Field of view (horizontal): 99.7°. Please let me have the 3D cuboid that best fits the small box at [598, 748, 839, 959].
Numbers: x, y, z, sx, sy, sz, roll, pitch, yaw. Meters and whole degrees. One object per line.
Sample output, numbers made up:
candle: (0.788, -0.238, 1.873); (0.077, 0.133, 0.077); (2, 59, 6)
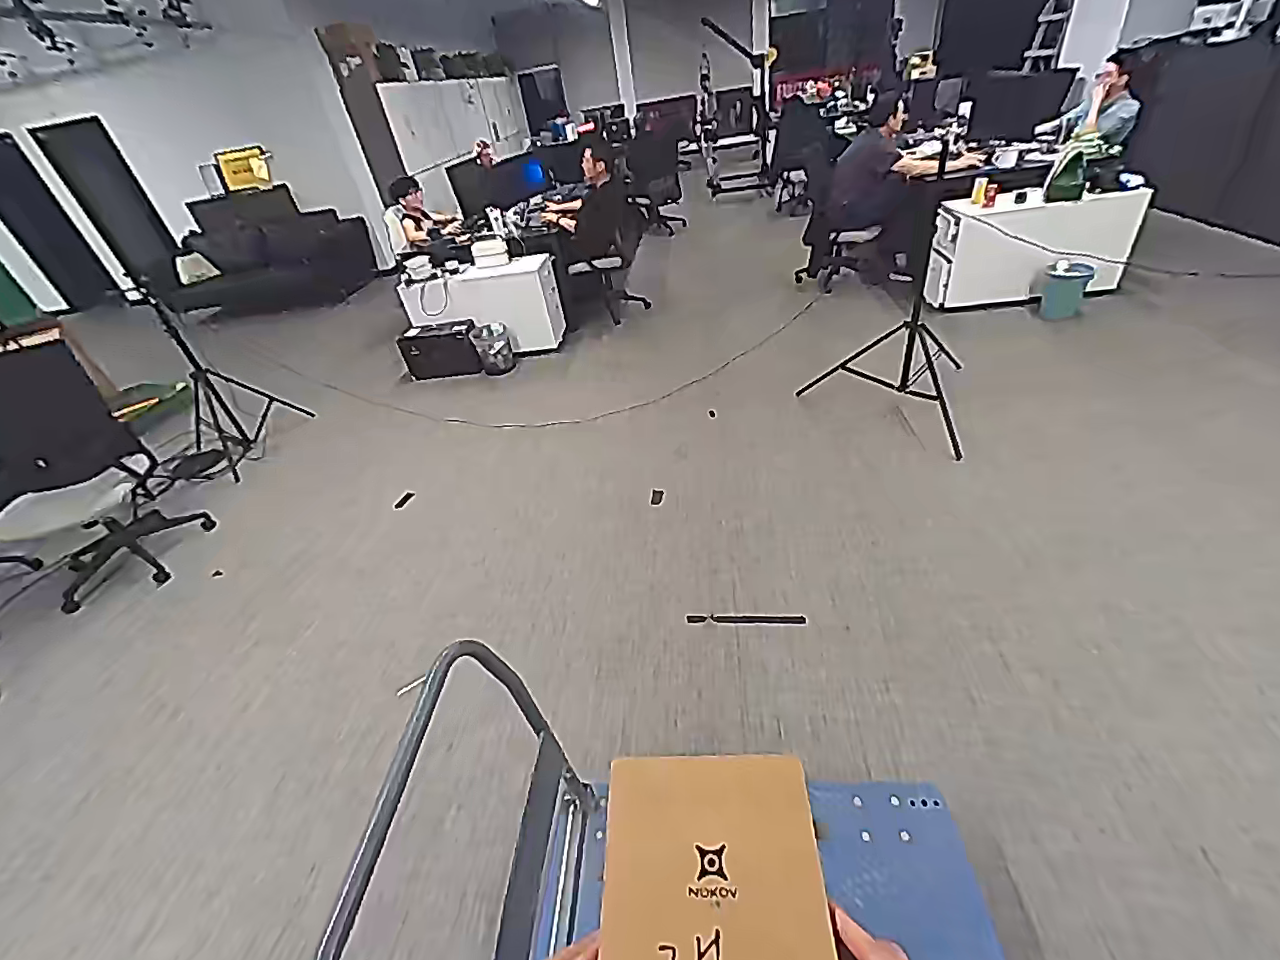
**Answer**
small box: (0.063, 0.350, 0.455); (0.168, 0.176, 0.179); (-5, 41, 6)
